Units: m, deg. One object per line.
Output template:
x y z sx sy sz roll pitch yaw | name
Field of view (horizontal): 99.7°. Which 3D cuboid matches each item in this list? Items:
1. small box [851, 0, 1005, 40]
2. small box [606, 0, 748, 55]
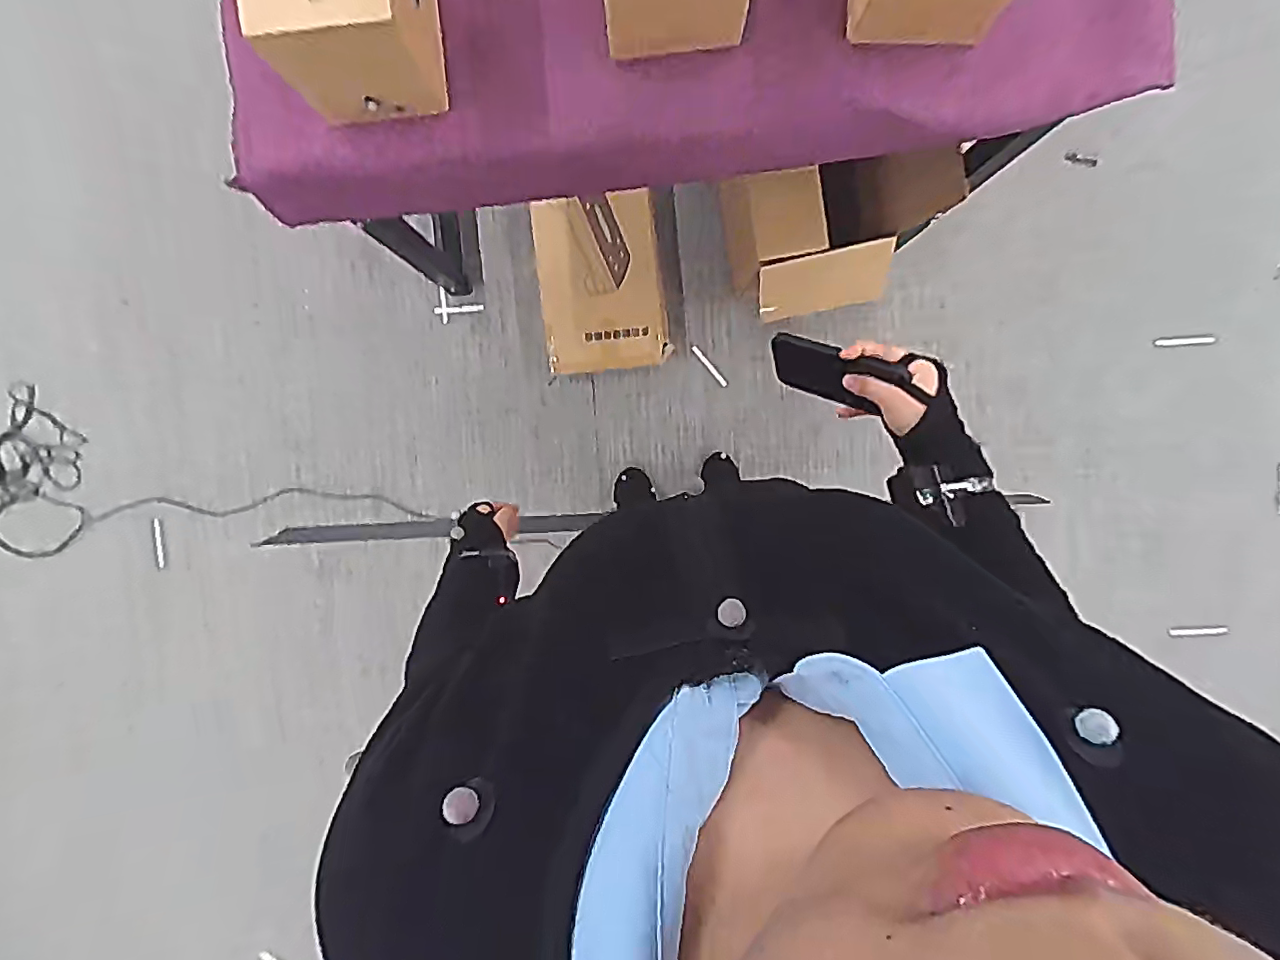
0.360 -0.654 0.626 0.179 0.176 0.168 1 94 1 | small box
0.042 -0.645 0.631 0.179 0.176 0.168 -6 92 1 | small box
